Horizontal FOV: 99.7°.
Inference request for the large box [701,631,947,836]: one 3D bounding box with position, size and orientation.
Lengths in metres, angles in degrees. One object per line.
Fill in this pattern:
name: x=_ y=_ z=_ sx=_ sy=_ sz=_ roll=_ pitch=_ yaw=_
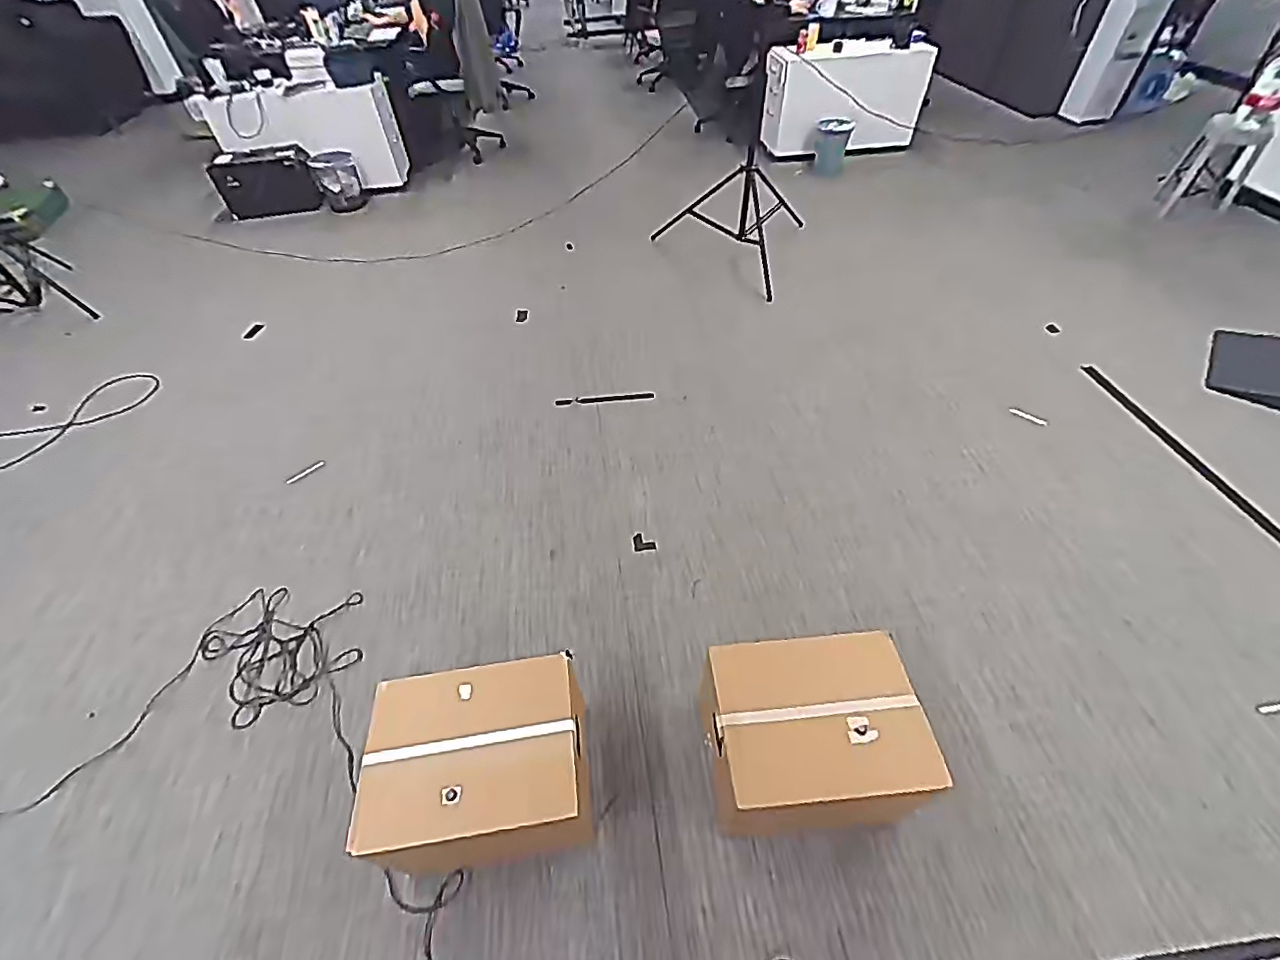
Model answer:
large box: x=0.365 y=0.565 z=1.202 sx=0.408 sy=0.320 sz=0.320 roll=-4 pitch=48 yaw=-2
